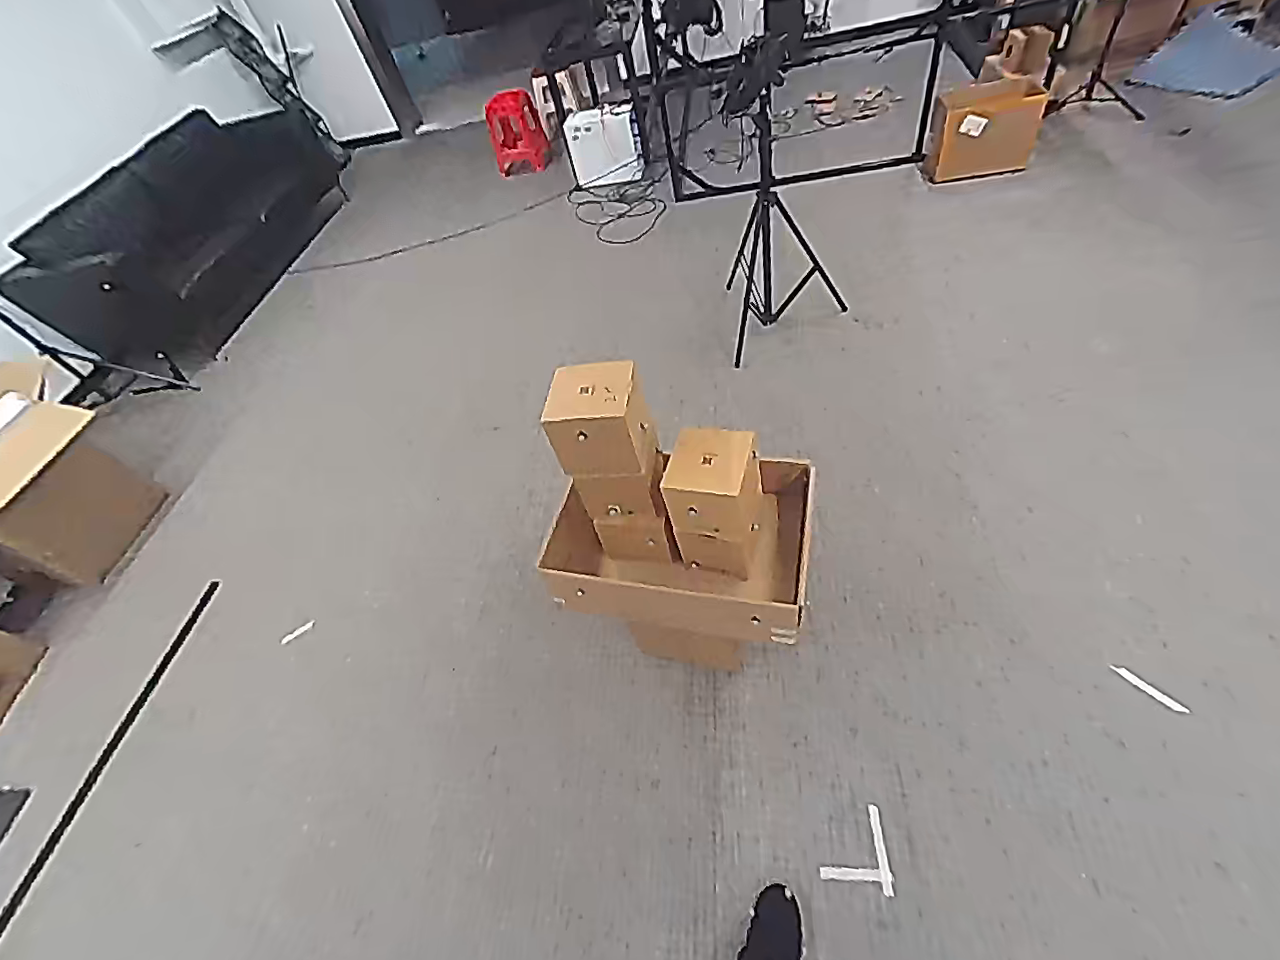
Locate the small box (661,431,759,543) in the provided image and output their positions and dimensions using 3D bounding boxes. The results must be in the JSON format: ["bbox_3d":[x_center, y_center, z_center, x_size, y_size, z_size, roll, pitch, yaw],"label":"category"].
[{"bbox_3d":[0.162,0.017,1.183,0.168,0.176,0.179,6,52,22],"label":"small box"}]

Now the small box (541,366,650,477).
[{"bbox_3d":[-0.086,-0.118,1.143,0.179,0.176,0.168,-2,51,13],"label":"small box"}]
